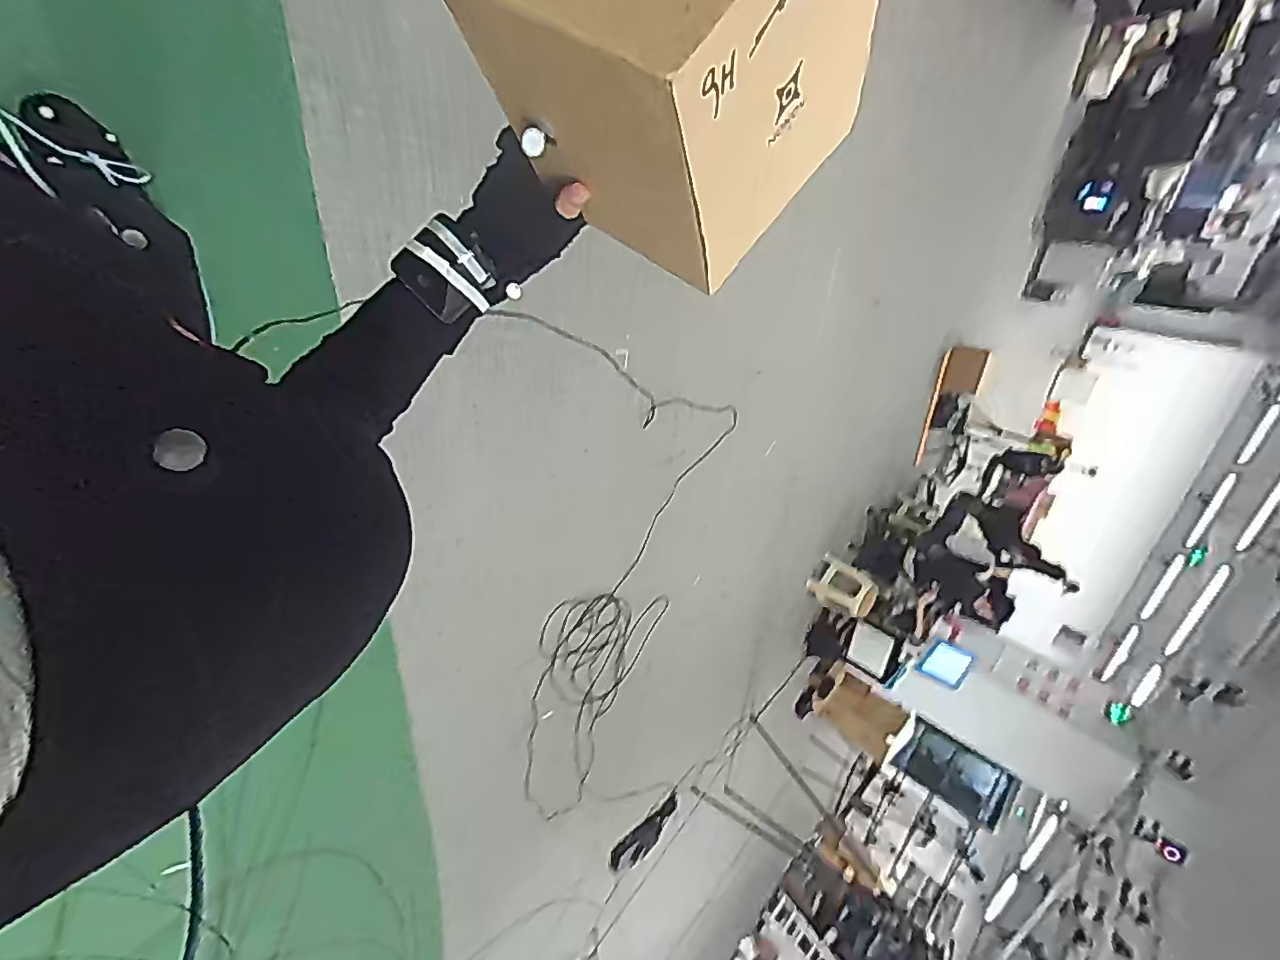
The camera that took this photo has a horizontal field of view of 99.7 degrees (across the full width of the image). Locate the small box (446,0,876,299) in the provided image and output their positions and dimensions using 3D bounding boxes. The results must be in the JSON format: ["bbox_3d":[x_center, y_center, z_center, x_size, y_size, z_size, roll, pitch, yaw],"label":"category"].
[{"bbox_3d":[0.020,-0.256,0.333,0.168,0.176,0.179,-52,164,-2],"label":"small box"}]
